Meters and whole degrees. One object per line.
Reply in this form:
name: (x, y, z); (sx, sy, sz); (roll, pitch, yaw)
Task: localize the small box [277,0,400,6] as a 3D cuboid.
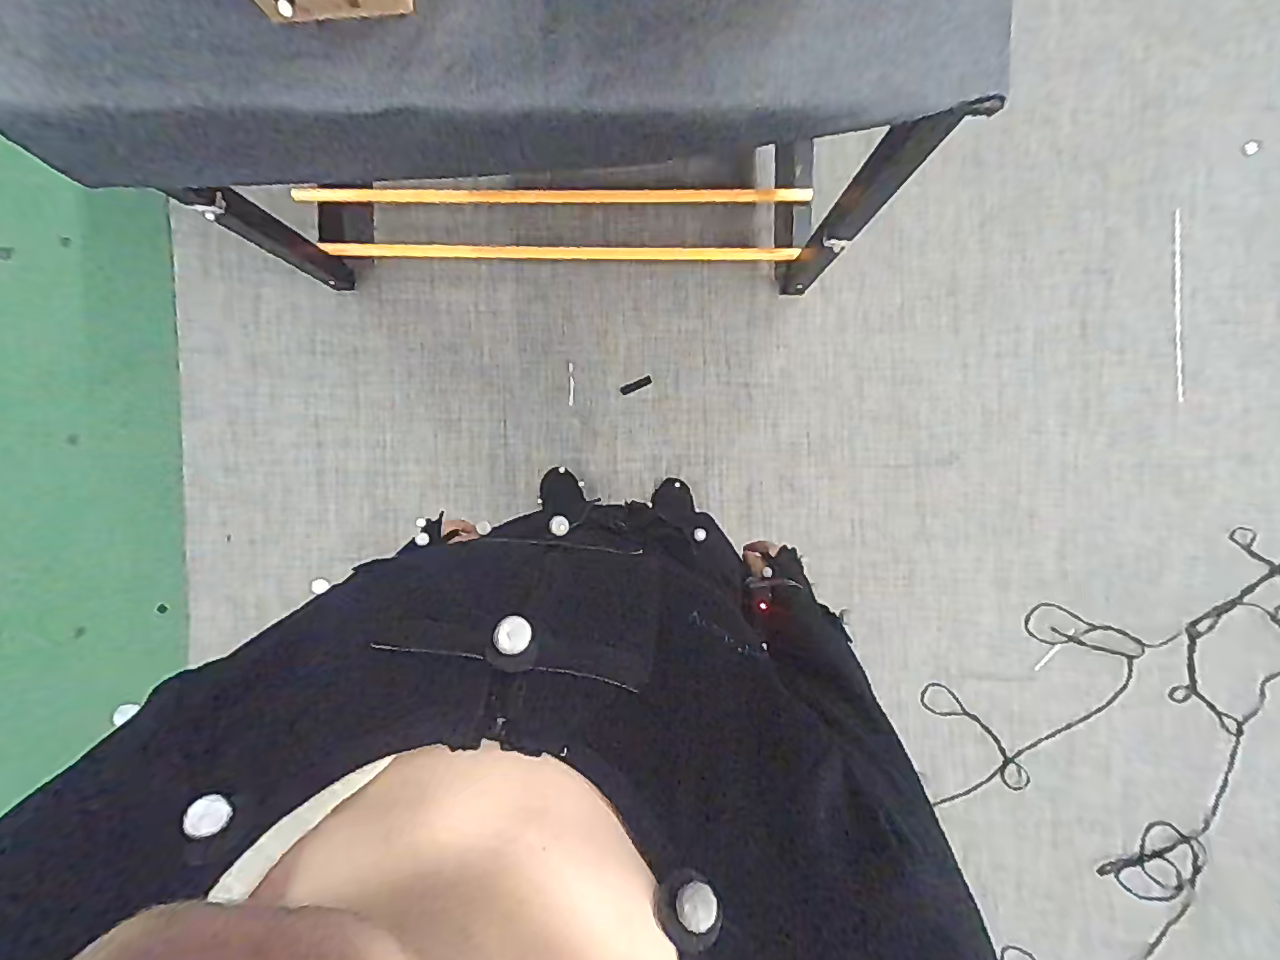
small box: (-0.349, -0.620, 0.538); (0.168, 0.176, 0.179); (-4, 91, 0)
